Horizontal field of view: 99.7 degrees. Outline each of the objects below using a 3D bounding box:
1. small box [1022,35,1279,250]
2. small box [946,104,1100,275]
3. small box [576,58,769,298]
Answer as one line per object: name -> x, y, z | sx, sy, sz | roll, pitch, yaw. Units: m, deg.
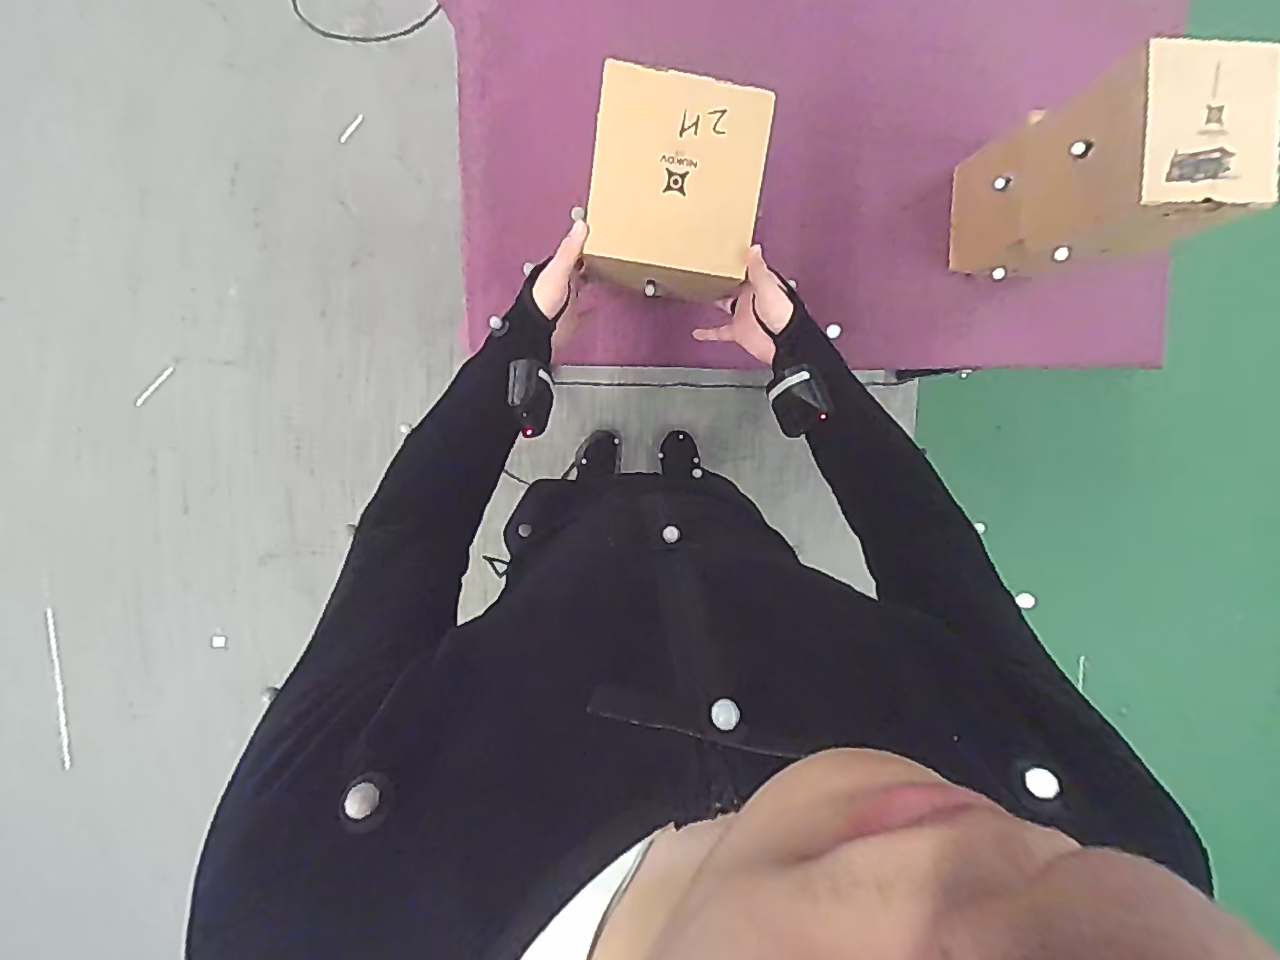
small box -> 0.616, -0.401, 0.675 | 0.168, 0.176, 0.179 | -1, 94, -4
small box -> 0.604, -0.435, 0.836 | 0.168, 0.176, 0.179 | 1, 95, -5
small box -> 0.026, -0.310, 0.599 | 0.168, 0.176, 0.179 | 8, 100, -5
